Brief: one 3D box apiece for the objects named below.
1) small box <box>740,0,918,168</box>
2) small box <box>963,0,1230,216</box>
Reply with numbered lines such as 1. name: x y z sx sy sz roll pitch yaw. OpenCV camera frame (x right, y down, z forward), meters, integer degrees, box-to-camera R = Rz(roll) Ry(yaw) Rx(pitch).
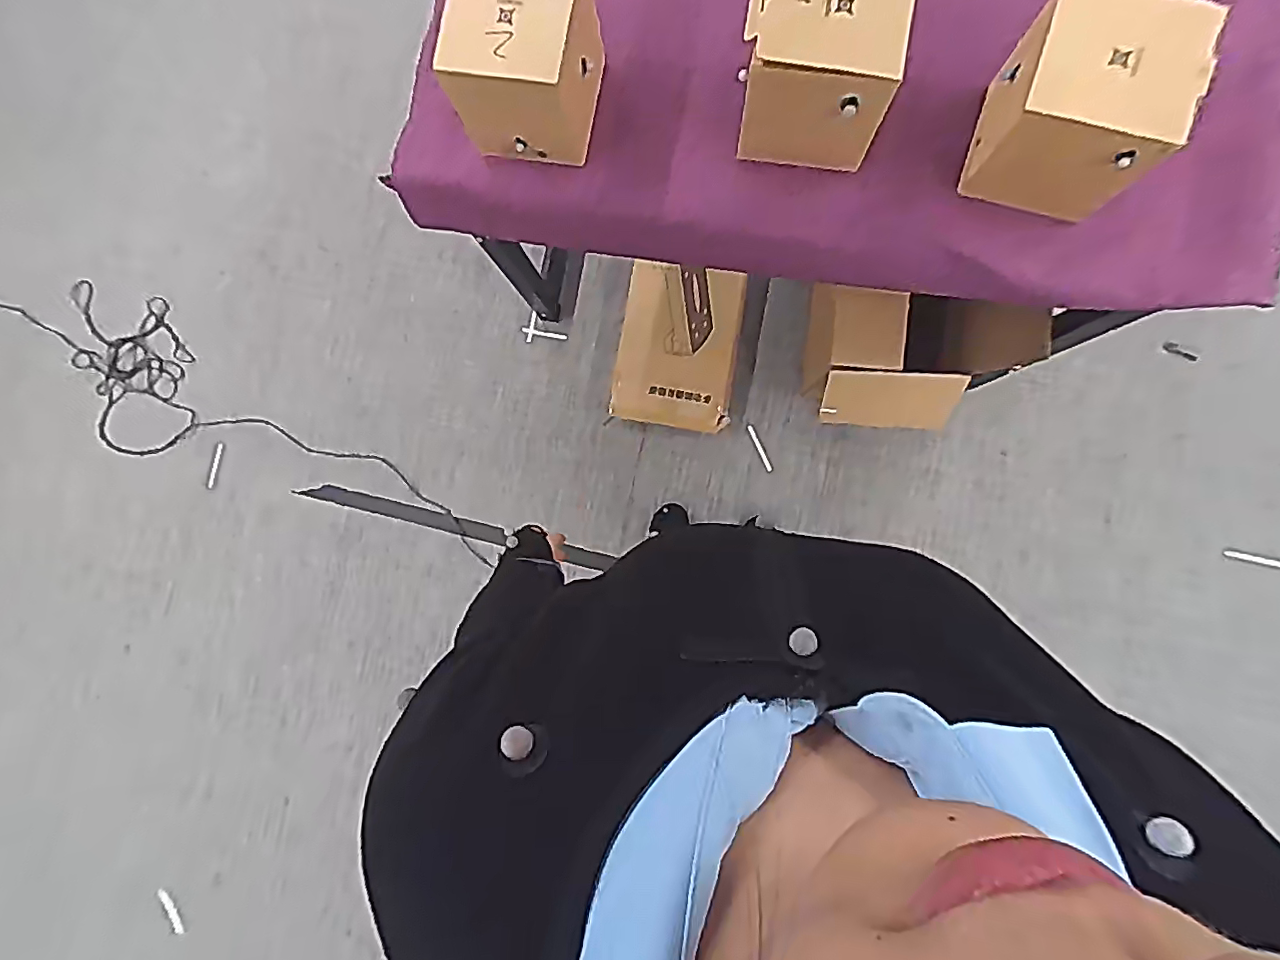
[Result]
1. small box: 0.237 -0.541 0.706 0.179 0.176 0.168 10 86 6
2. small box: 0.544 -0.461 0.675 0.179 0.176 0.168 17 89 6
